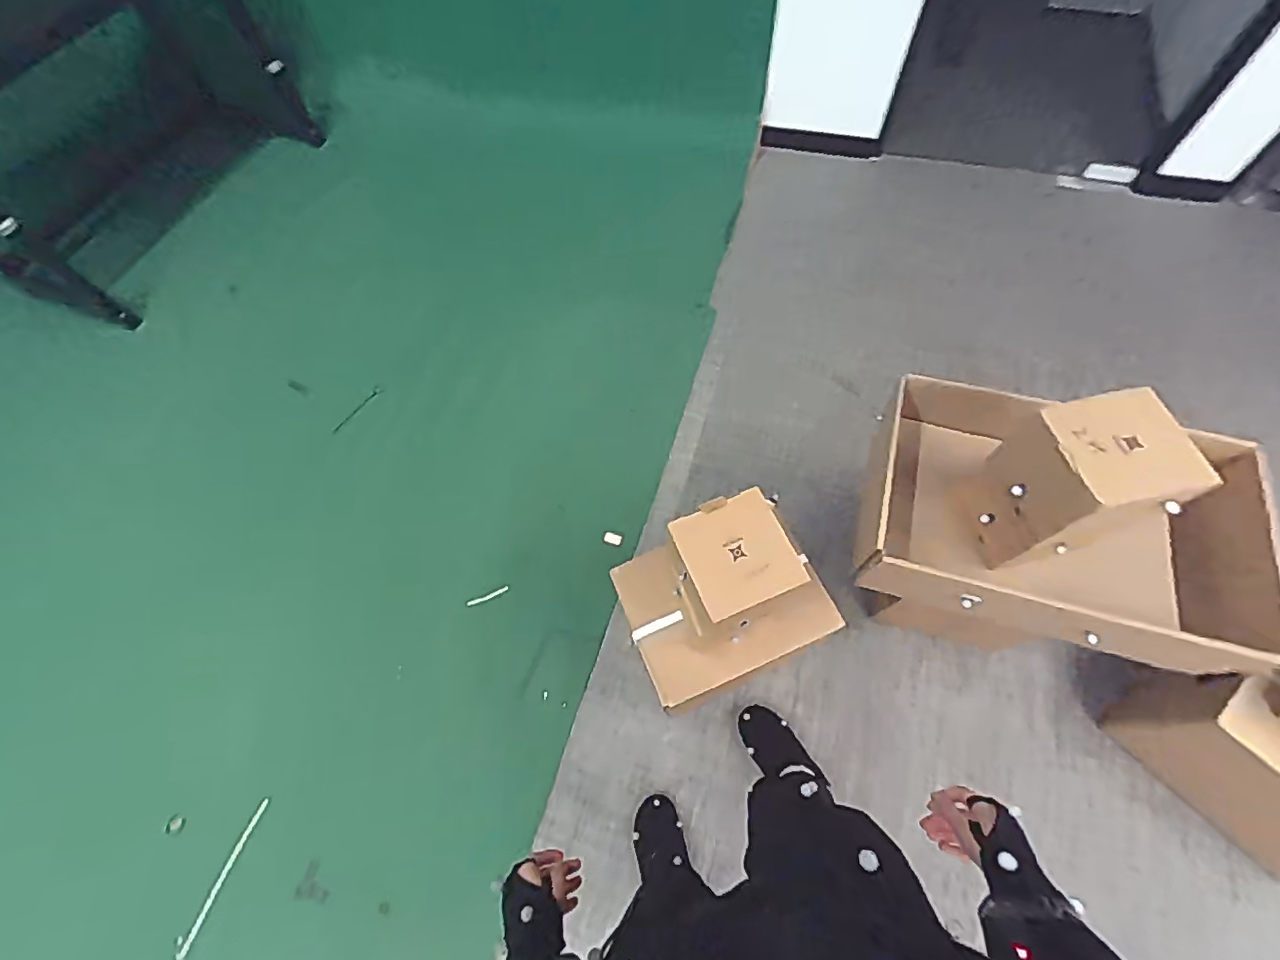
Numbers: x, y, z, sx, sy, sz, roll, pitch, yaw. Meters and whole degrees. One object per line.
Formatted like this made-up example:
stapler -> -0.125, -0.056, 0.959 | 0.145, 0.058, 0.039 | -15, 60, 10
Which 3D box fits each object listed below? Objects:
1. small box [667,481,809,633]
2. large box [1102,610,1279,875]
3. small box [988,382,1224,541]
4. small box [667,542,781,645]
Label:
small box -> 0.152, 0.134, 0.903 | 0.168, 0.176, 0.179 | -21, 65, -5
large box -> 1.294, 0.533, 1.087 | 0.320, 0.320, 0.408 | -39, 70, -14
small box -> 0.685, -0.022, 0.823 | 0.179, 0.176, 0.168 | -12, 64, -1
small box -> 0.156, 0.202, 1.052 | 0.168, 0.176, 0.179 | -19, 65, -5
